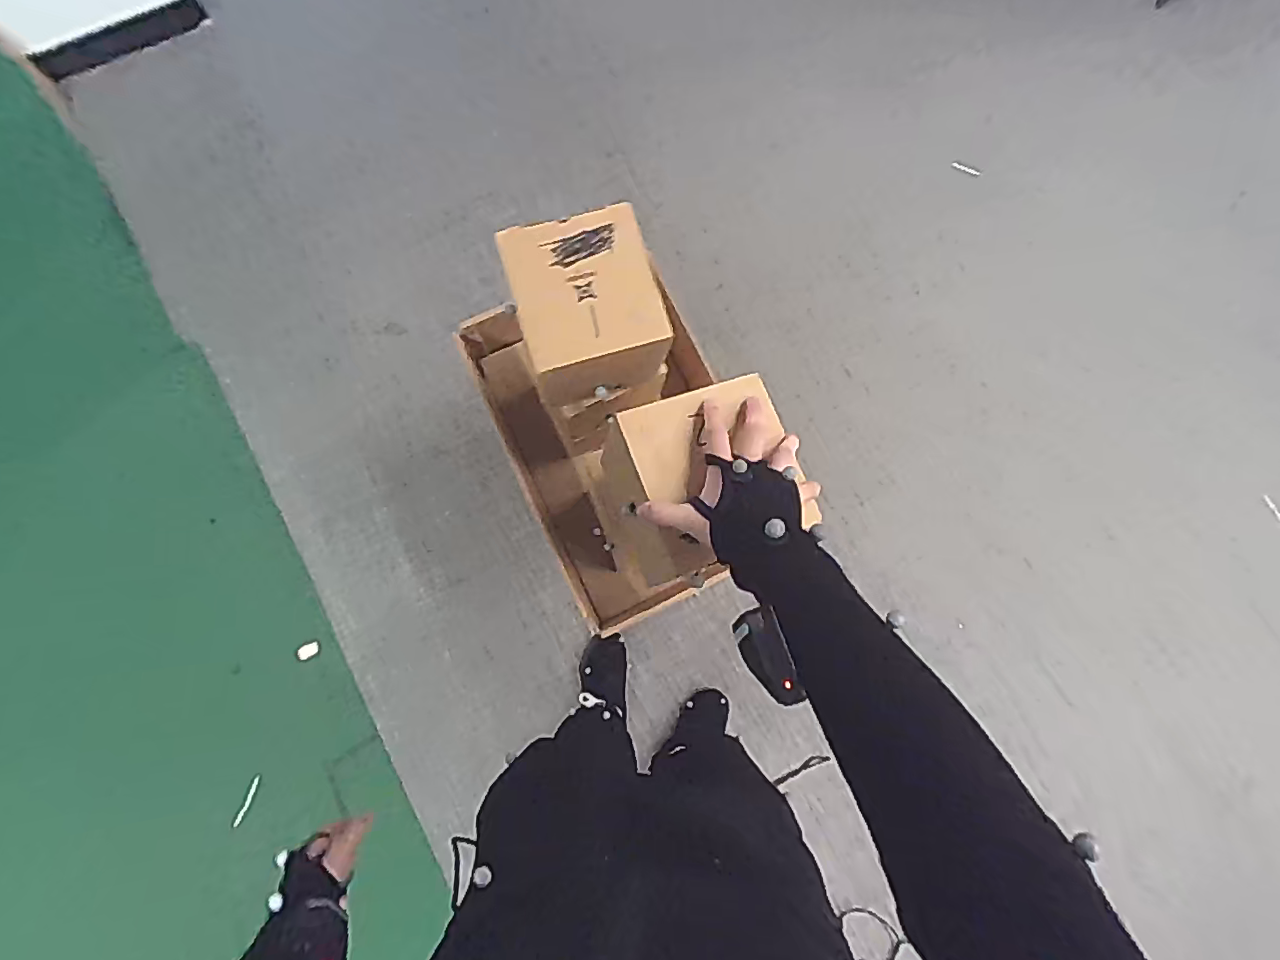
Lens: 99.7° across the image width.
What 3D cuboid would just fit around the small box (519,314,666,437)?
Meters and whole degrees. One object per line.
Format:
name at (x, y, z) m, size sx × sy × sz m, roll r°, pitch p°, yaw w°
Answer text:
small box at (-0.078, -0.190, 0.869) m, size 0.168 × 0.176 × 0.179 m, roll -26°, pitch 86°, yaw -8°

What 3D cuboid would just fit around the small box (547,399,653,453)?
small box at (-0.091, -0.172, 1.029) m, size 0.168 × 0.176 × 0.179 m, roll -26°, pitch 86°, yaw -7°

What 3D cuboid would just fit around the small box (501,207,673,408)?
small box at (-0.070, -0.213, 0.706) m, size 0.168 × 0.176 × 0.179 m, roll -17°, pitch 85°, yaw -7°

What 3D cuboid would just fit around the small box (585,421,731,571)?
small box at (0.022, 0.031, 0.838) m, size 0.168 × 0.176 × 0.179 m, roll -19°, pitch 82°, yaw -7°
